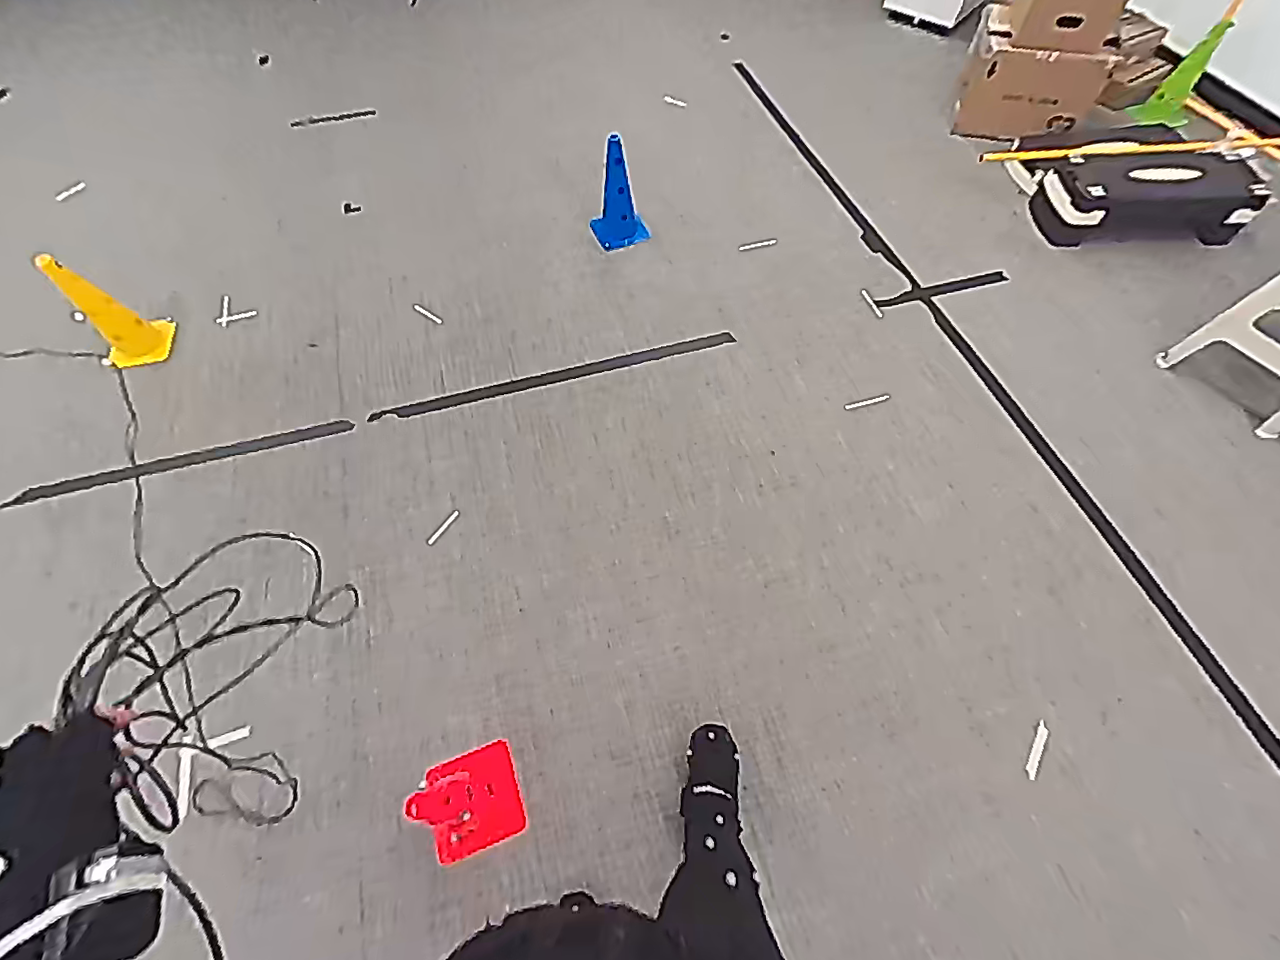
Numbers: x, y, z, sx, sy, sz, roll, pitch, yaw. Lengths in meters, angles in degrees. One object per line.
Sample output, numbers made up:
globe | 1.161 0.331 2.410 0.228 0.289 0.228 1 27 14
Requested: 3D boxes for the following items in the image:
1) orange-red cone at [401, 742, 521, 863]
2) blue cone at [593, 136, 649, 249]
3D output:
orange-red cone | -0.379 0.631 1.056 0.199 0.360 0.198 -18 63 -10
blue cone | -0.082 -1.067 1.985 0.193 0.380 0.192 -19 63 -9
